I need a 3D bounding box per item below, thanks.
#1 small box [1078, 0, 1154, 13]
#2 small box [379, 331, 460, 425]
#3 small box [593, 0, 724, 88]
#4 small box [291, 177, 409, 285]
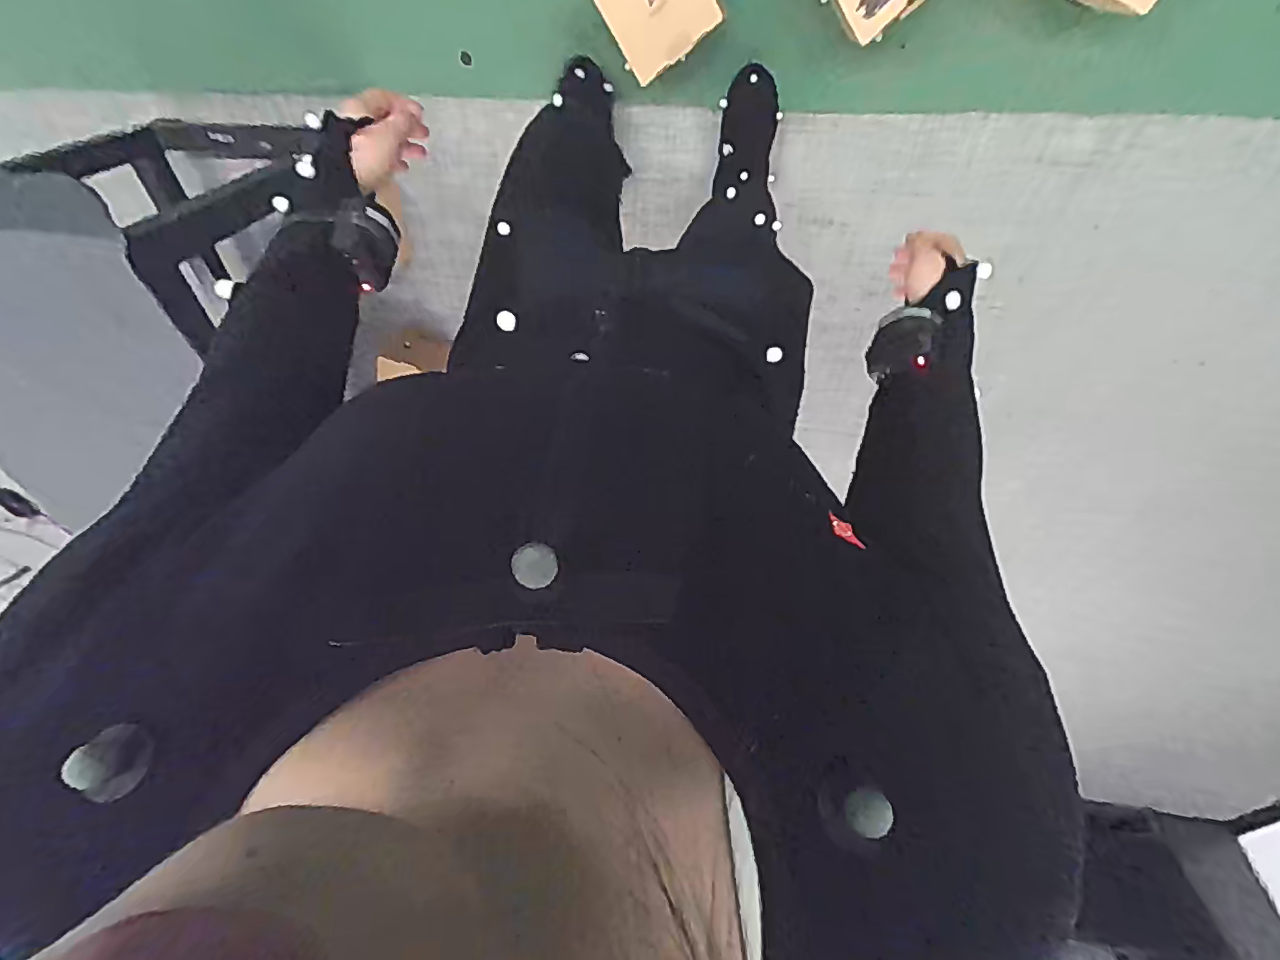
[{"bbox_3d":[0.709,-0.833,0.800,0.179,0.176,0.168,18,135,-8],"label":"small box"},{"bbox_3d":[-0.633,-0.298,1.560,0.168,0.176,0.179,20,135,-8],"label":"small box"},{"bbox_3d":[0.031,-0.827,0.930,0.168,0.176,0.179,-24,126,29],"label":"small box"},{"bbox_3d":[-0.673,-0.591,1.282,0.168,0.176,0.179,8,134,1],"label":"small box"}]
